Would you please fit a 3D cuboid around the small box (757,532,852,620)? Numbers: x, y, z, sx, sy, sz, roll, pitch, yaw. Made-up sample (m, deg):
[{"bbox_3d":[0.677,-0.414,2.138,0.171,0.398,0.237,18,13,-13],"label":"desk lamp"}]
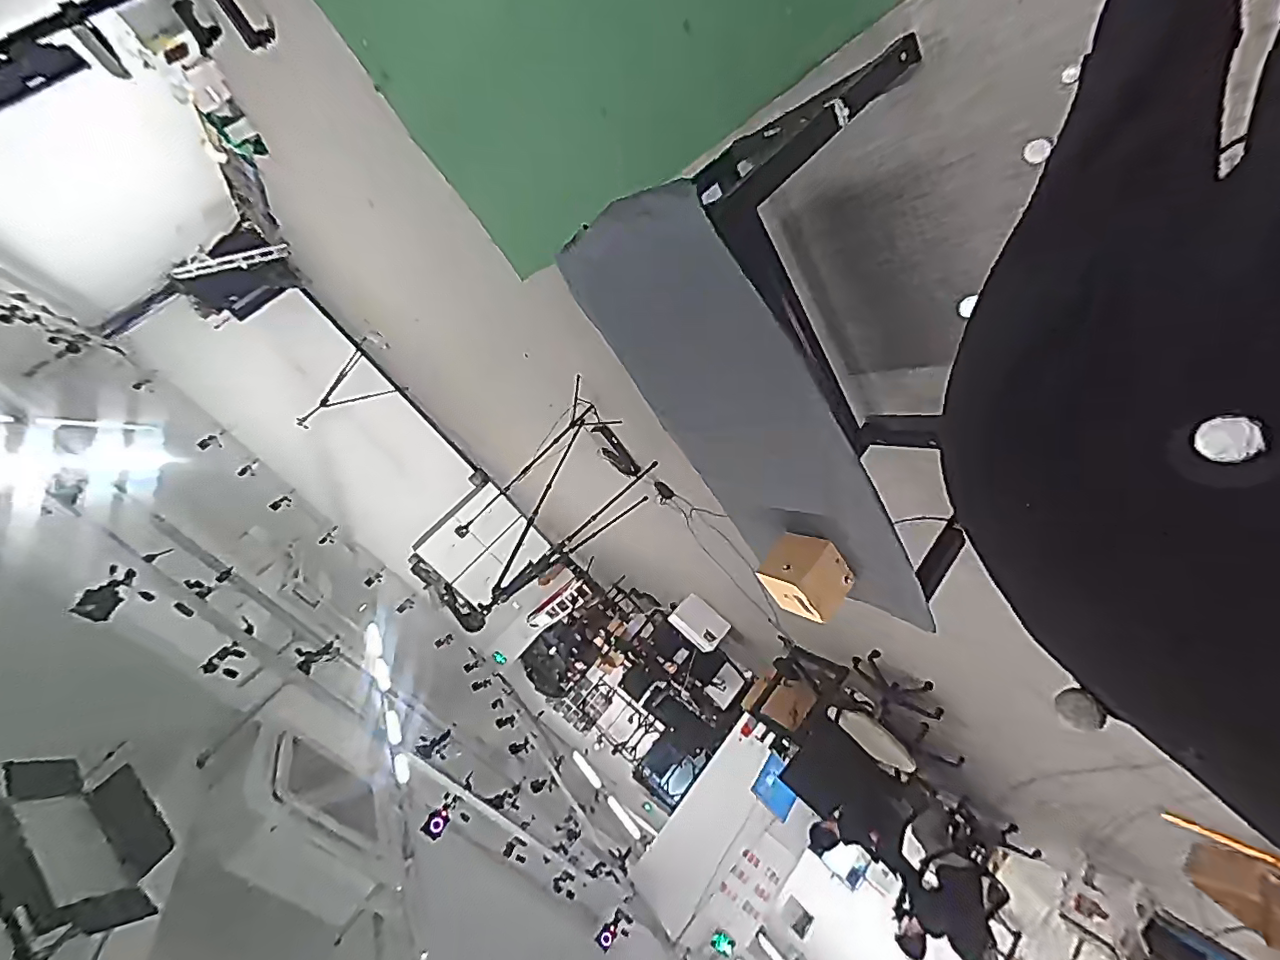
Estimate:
[{"bbox_3d":[0.479,0.268,1.552,0.168,0.176,0.179,51,161,-22],"label":"small box"}]
